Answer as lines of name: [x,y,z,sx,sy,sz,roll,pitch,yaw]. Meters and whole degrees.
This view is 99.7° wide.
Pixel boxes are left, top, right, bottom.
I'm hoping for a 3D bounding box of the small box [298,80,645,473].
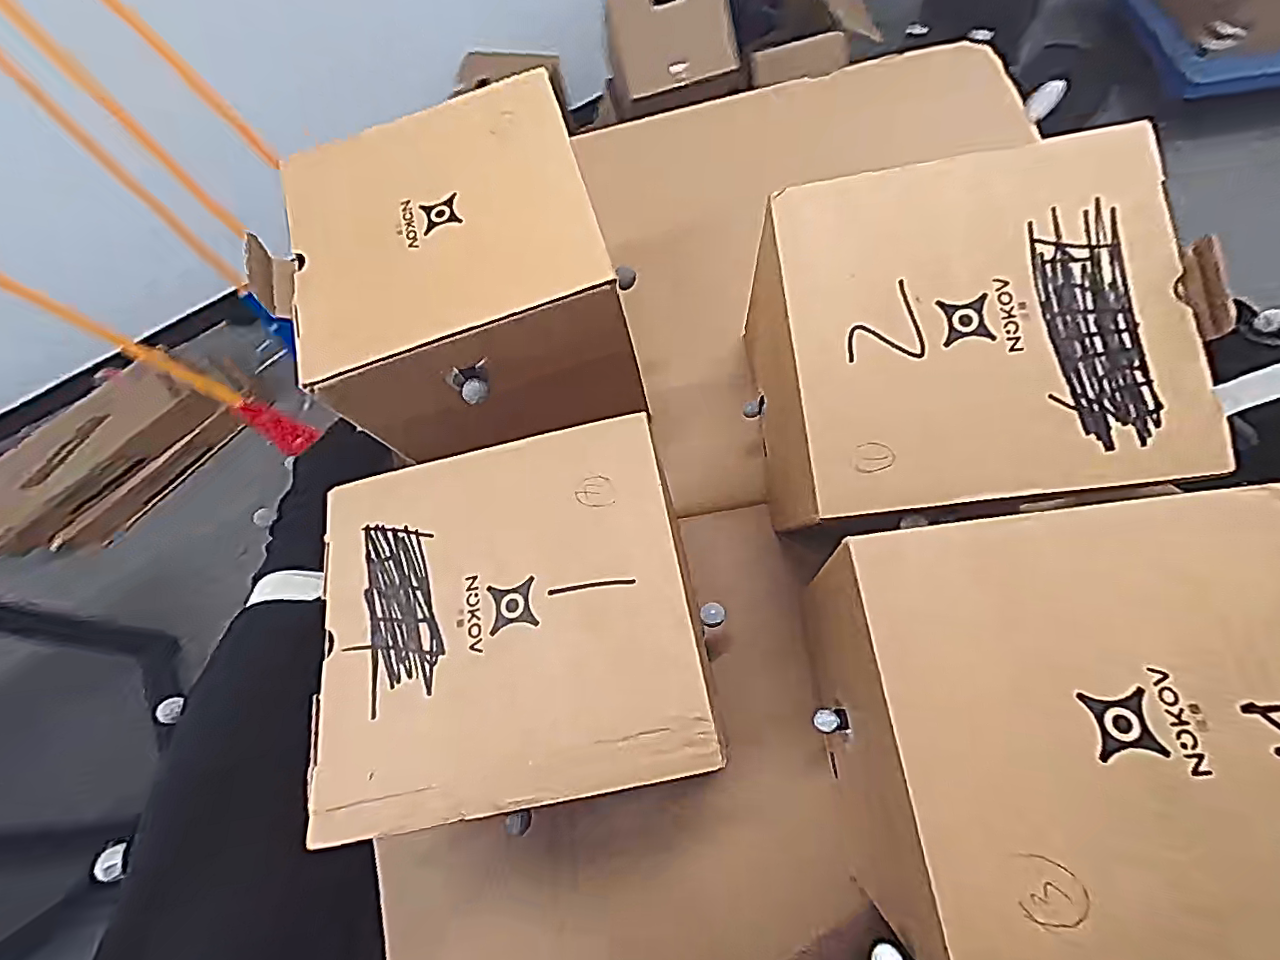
small box: [-0.101,-0.123,0.386,0.179,0.176,0.168,-18,70,4]
